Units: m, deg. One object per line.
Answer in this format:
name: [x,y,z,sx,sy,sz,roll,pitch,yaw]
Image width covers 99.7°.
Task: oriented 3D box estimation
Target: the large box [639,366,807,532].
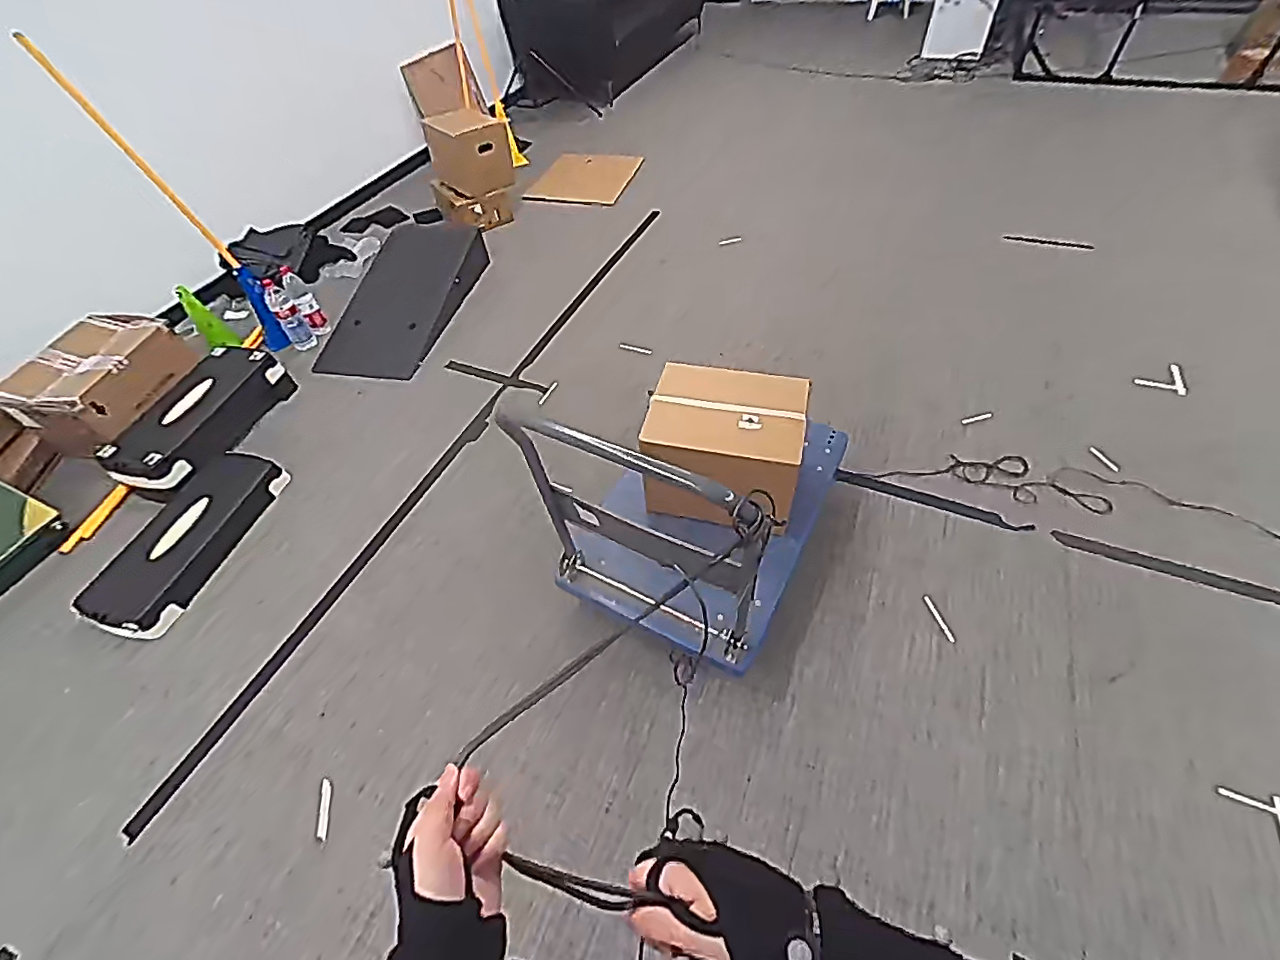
large box: [0.230,-0.087,1.523,0.408,0.320,0.320,10,53,12]
